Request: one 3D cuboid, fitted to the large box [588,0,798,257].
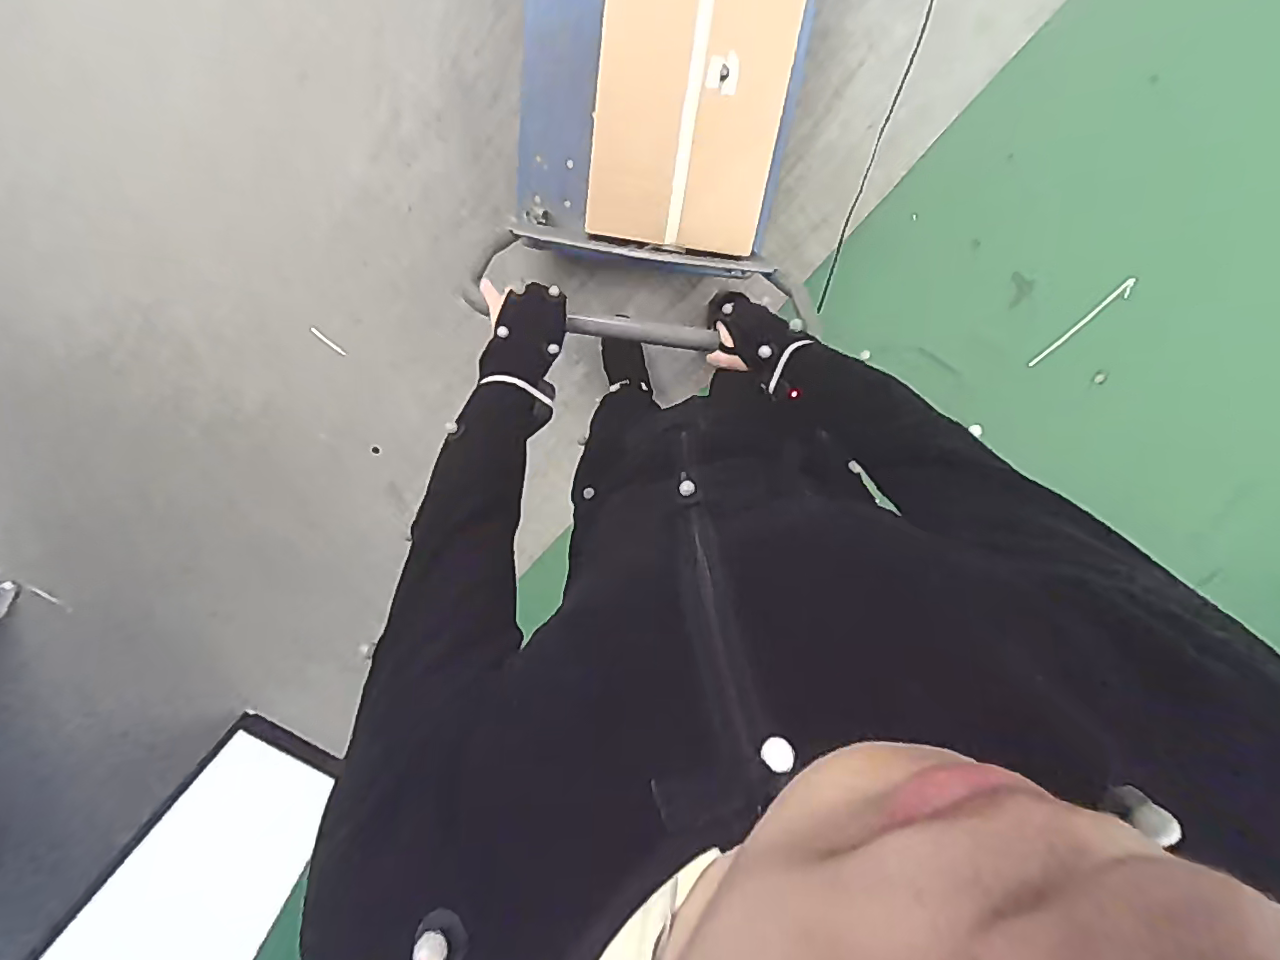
[{"bbox_3d":[0.079,-0.678,1.070,0.320,0.320,0.408,7,115,-4],"label":"large box"}]
